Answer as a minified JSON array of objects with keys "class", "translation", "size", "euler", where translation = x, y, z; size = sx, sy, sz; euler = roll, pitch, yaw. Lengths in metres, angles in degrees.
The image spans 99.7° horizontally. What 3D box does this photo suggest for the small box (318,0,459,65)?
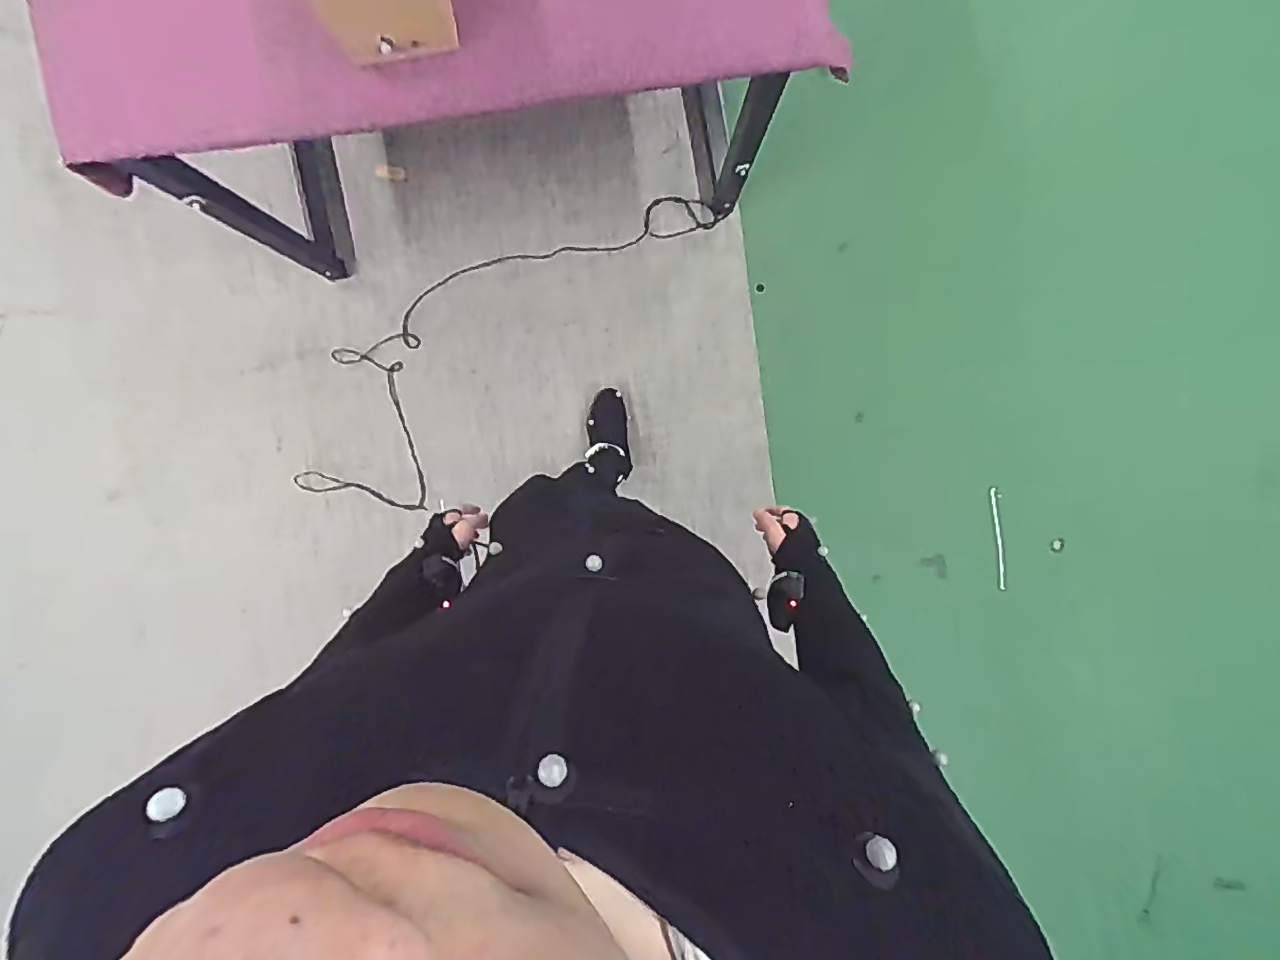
[{"class":"small box","translation":[-0.372,-0.738,0.759],"size":[0.168,0.176,0.179],"euler":[-9,94,2]}]
